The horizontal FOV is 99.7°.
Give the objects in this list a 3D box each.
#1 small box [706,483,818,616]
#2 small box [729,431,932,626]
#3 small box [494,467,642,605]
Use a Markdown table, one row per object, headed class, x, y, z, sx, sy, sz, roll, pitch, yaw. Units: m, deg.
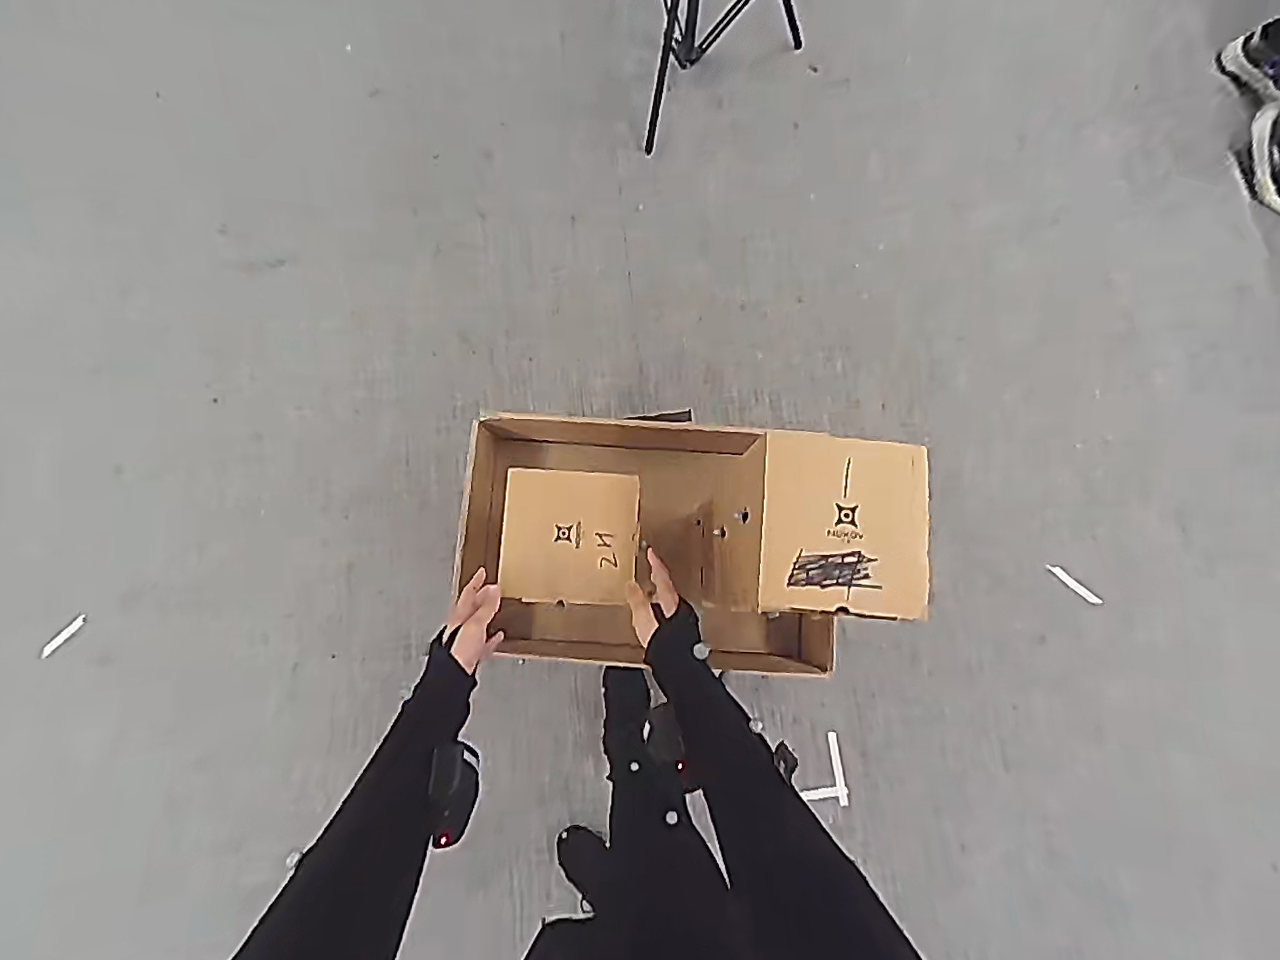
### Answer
| class | x | y | z | sx | sy | sz | roll | pitch | yaw |
| --- | --- | --- | --- | --- | --- | --- | --- | --- | --- |
| small box | 0.194 | 0.099 | 0.758 | 0.179 | 0.176 | 0.168 | 2 | 80 | -1 |
| small box | 0.196 | 0.057 | 0.597 | 0.168 | 0.176 | 0.179 | 5 | 80 | 0 |
| small box | -0.091 | 0.084 | 0.759 | 0.179 | 0.176 | 0.168 | 4 | 80 | -1 |
